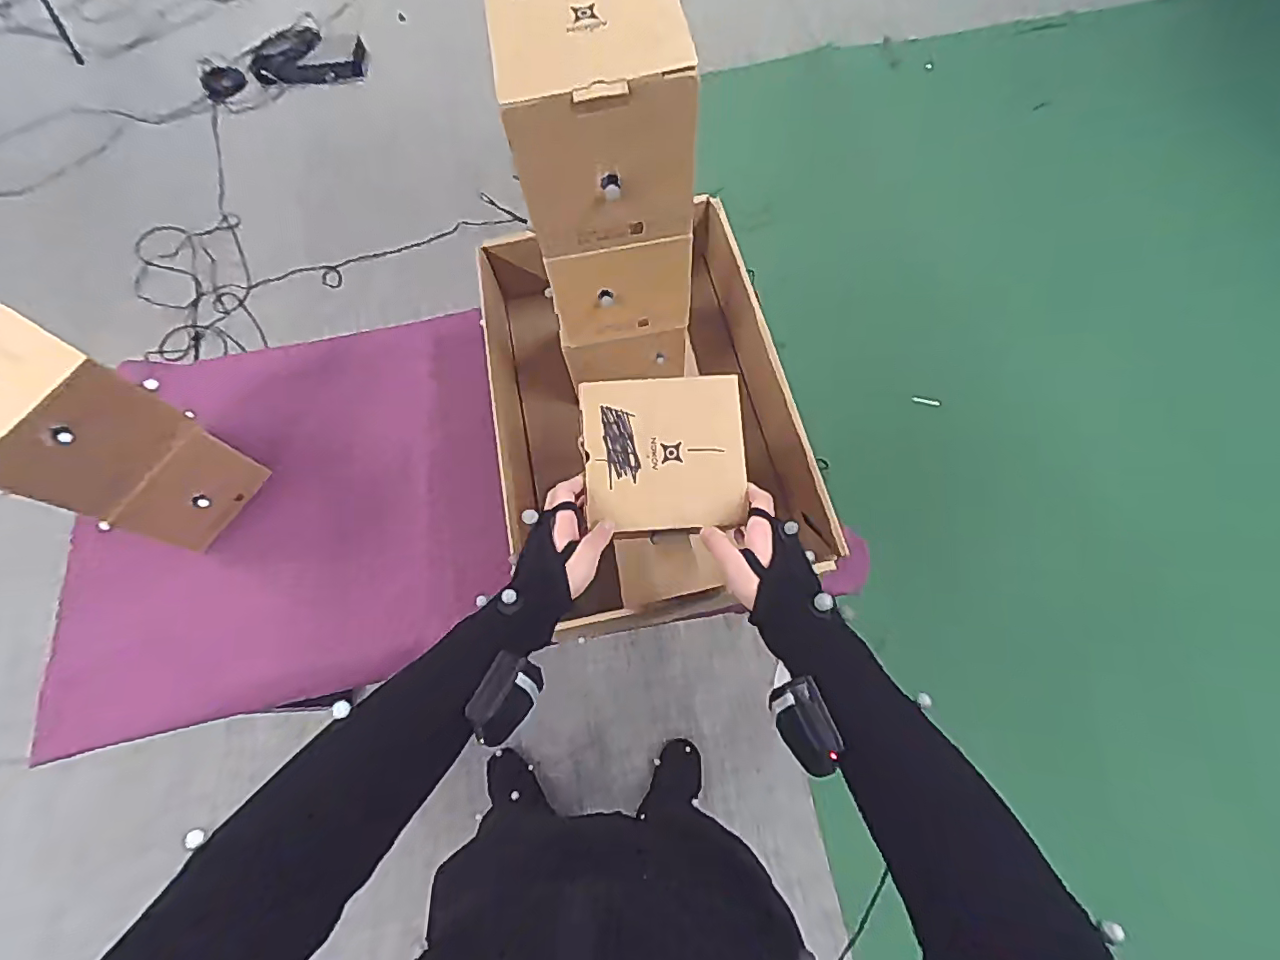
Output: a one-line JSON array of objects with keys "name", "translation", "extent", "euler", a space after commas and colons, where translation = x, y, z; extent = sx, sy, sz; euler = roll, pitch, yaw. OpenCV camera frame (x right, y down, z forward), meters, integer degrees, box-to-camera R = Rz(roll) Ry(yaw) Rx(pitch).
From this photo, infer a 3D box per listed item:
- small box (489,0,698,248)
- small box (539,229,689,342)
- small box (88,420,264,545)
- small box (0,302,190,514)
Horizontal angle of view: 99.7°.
[{"name": "small box", "translation": [-0.040, -0.354, 0.535], "extent": [0.168, 0.176, 0.179], "euler": [-10, 70, -1]}, {"name": "small box", "translation": [-0.033, -0.295, 0.687], "extent": [0.168, 0.176, 0.179], "euler": [-10, 69, -1]}, {"name": "small box", "translation": [-0.744, -0.016, 0.836], "extent": [0.179, 0.176, 0.168], "euler": [28, 71, 12]}, {"name": "small box", "translation": [-0.744, -0.081, 0.687], "extent": [0.168, 0.176, 0.179], "euler": [29, 72, 11]}]
